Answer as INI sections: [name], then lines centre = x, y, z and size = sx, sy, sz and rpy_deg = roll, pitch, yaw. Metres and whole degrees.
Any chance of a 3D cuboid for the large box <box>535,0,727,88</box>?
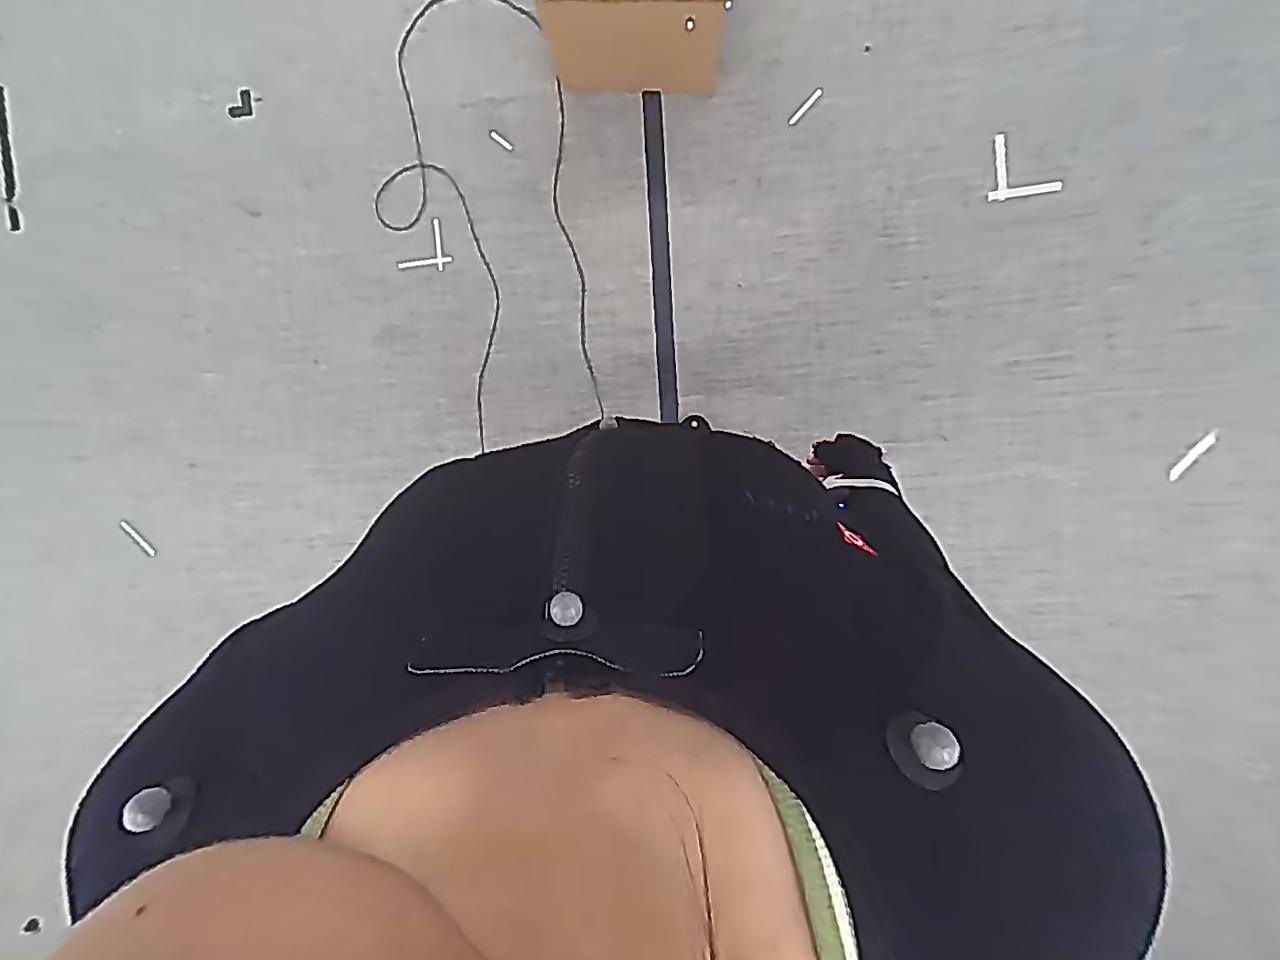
[large box]
centre = -0.006, -1.153, 1.240
size = 0.408, 0.320, 0.320
rpy_deg = 4, 95, 3
